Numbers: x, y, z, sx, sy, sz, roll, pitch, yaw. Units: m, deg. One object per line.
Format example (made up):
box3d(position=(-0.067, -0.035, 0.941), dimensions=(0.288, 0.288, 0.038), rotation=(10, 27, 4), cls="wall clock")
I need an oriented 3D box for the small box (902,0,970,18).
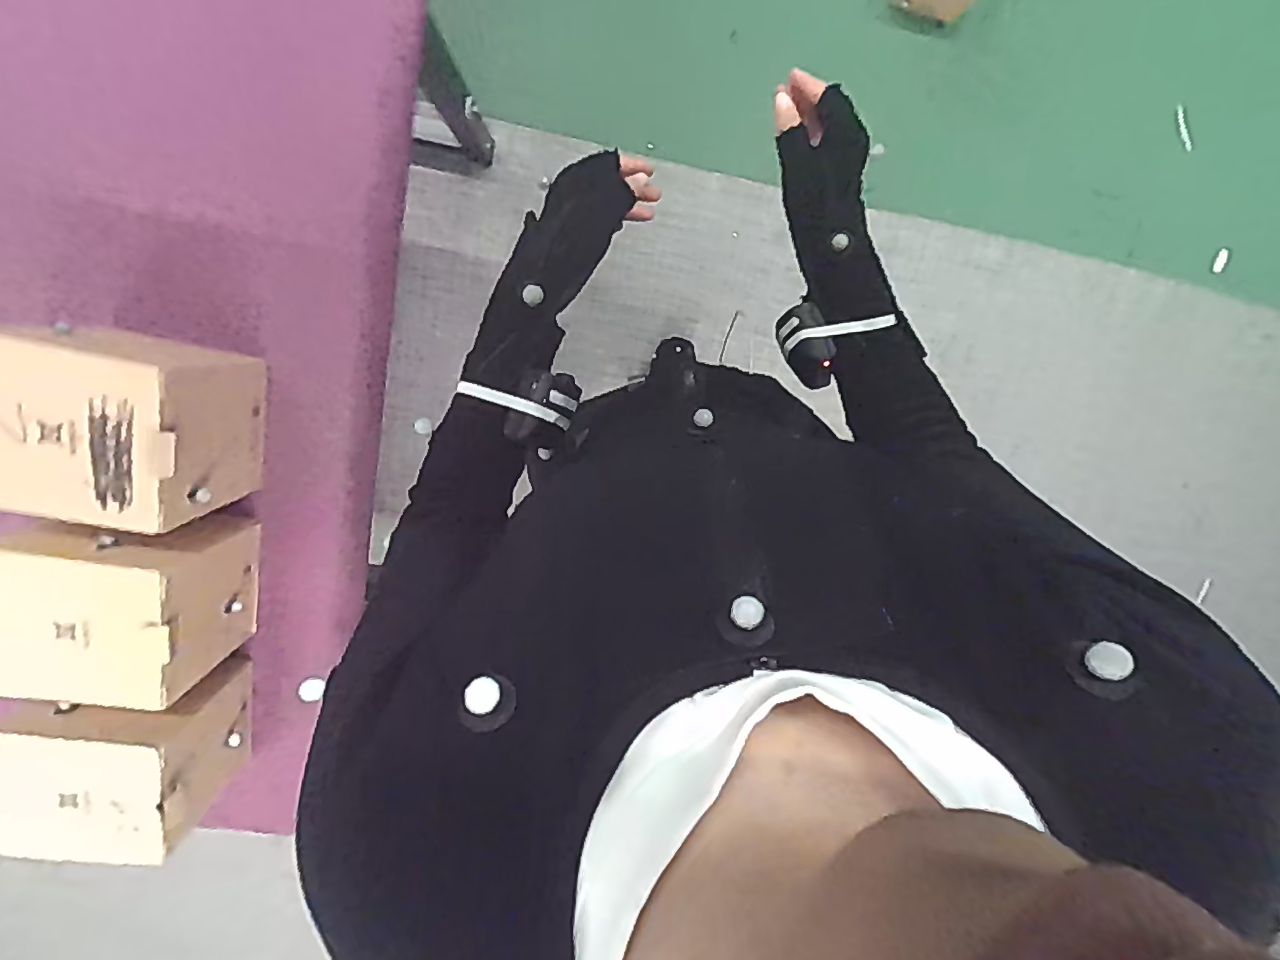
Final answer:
box3d(position=(0.676, -1.151, 1.160), dimensions=(0.168, 0.176, 0.179), rotation=(10, 103, -8), cls="small box")
